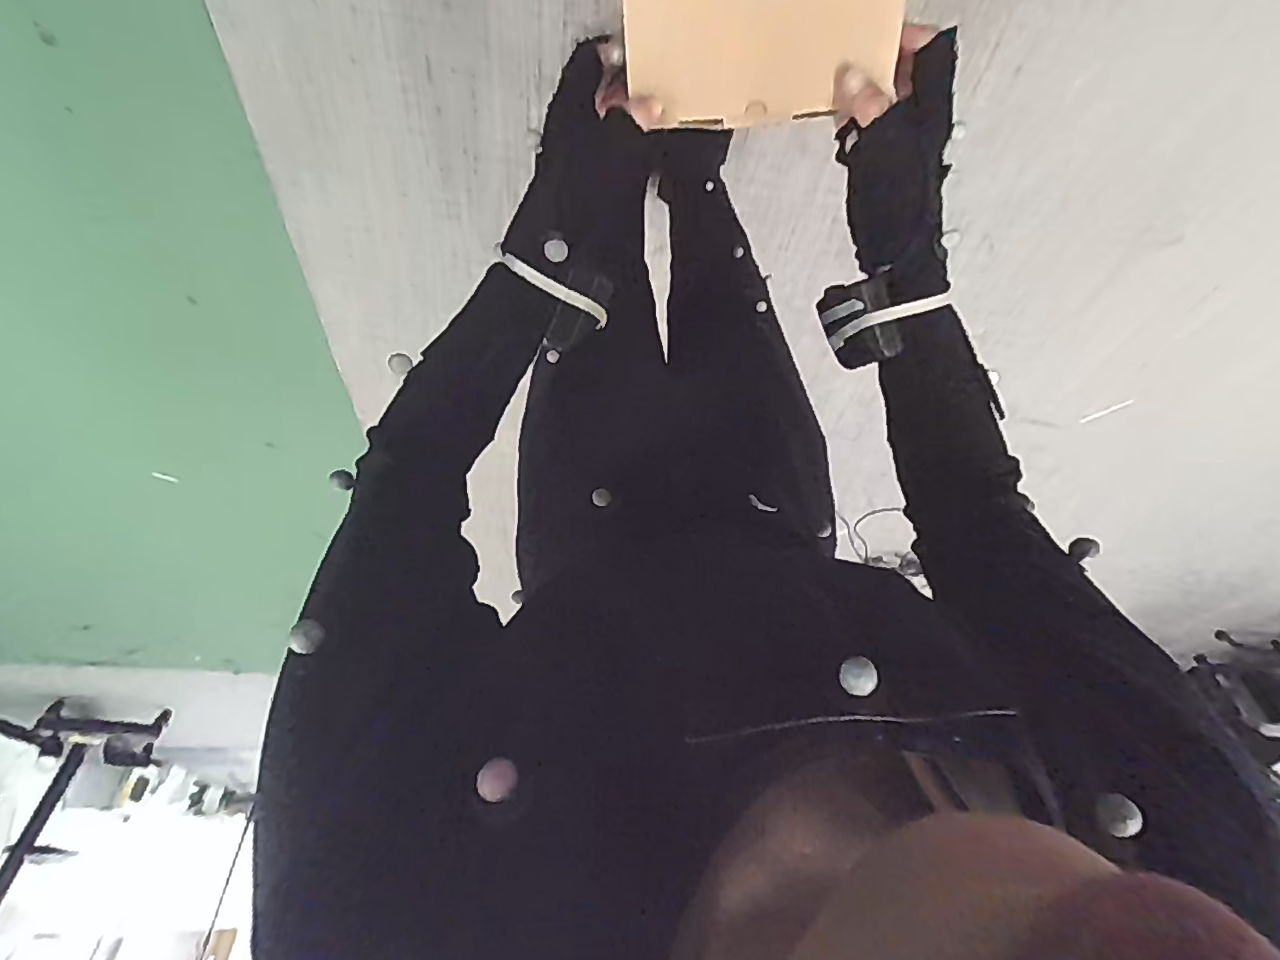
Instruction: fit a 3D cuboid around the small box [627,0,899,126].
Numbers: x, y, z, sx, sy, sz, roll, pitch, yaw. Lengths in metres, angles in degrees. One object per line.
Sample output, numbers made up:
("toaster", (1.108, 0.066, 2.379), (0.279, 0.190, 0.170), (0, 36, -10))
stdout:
("small box", (0.076, -0.359, 0.369), (0.168, 0.176, 0.179), (0, 130, 6))
